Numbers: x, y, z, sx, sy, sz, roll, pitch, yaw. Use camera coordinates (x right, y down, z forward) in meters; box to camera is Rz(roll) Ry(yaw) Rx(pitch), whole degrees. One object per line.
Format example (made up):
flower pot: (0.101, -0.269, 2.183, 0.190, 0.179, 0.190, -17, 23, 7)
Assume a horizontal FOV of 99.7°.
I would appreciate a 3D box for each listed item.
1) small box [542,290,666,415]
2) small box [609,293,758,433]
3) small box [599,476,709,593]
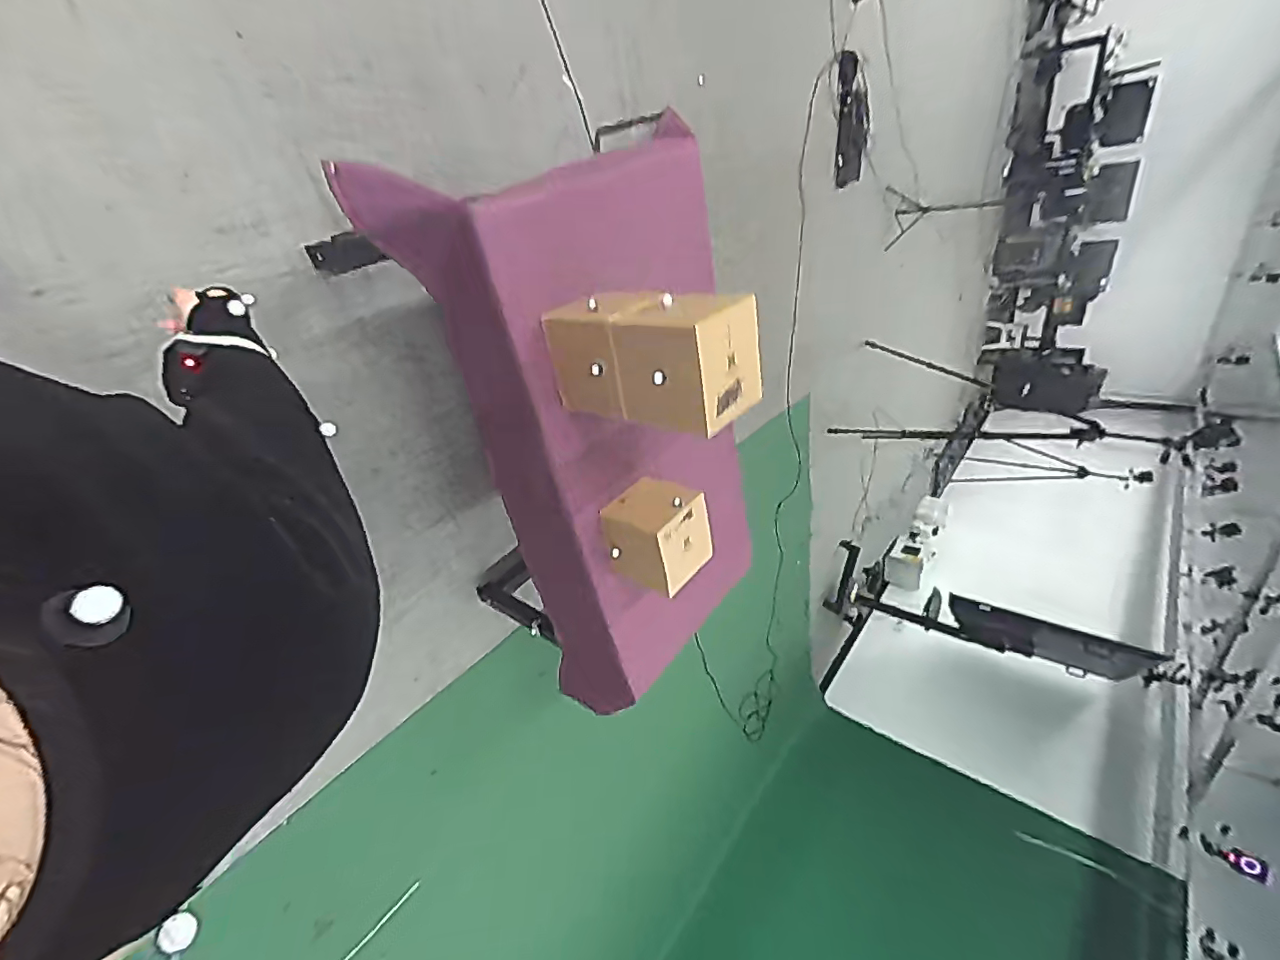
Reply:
small box: (-0.054, -0.235, 0.980, 0.168, 0.176, 0.179, -37, 129, -38)
small box: (0.073, -0.198, 0.883, 0.168, 0.176, 0.179, -37, 128, -37)
small box: (0.032, 0.112, 1.201, 0.168, 0.176, 0.179, -39, 130, -38)
